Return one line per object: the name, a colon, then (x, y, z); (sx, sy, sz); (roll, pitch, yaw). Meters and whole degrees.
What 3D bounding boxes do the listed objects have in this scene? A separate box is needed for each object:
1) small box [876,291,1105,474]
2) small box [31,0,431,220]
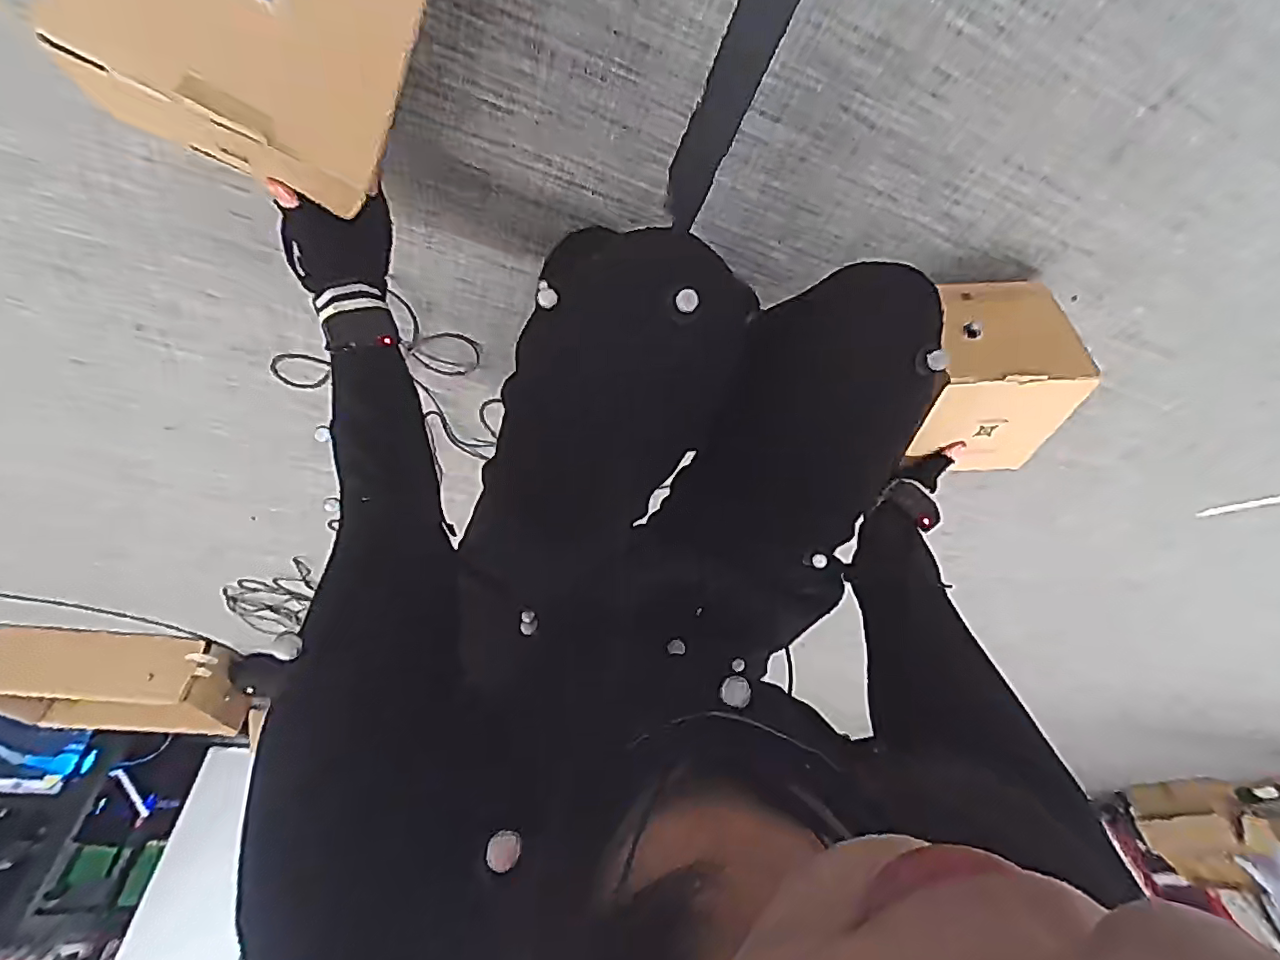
small box: (0.421, -0.126, 0.693); (0.168, 0.176, 0.179); (-1, 147, 4)
small box: (-0.258, -0.311, 0.374); (0.168, 0.179, 0.176); (17, 97, -36)
